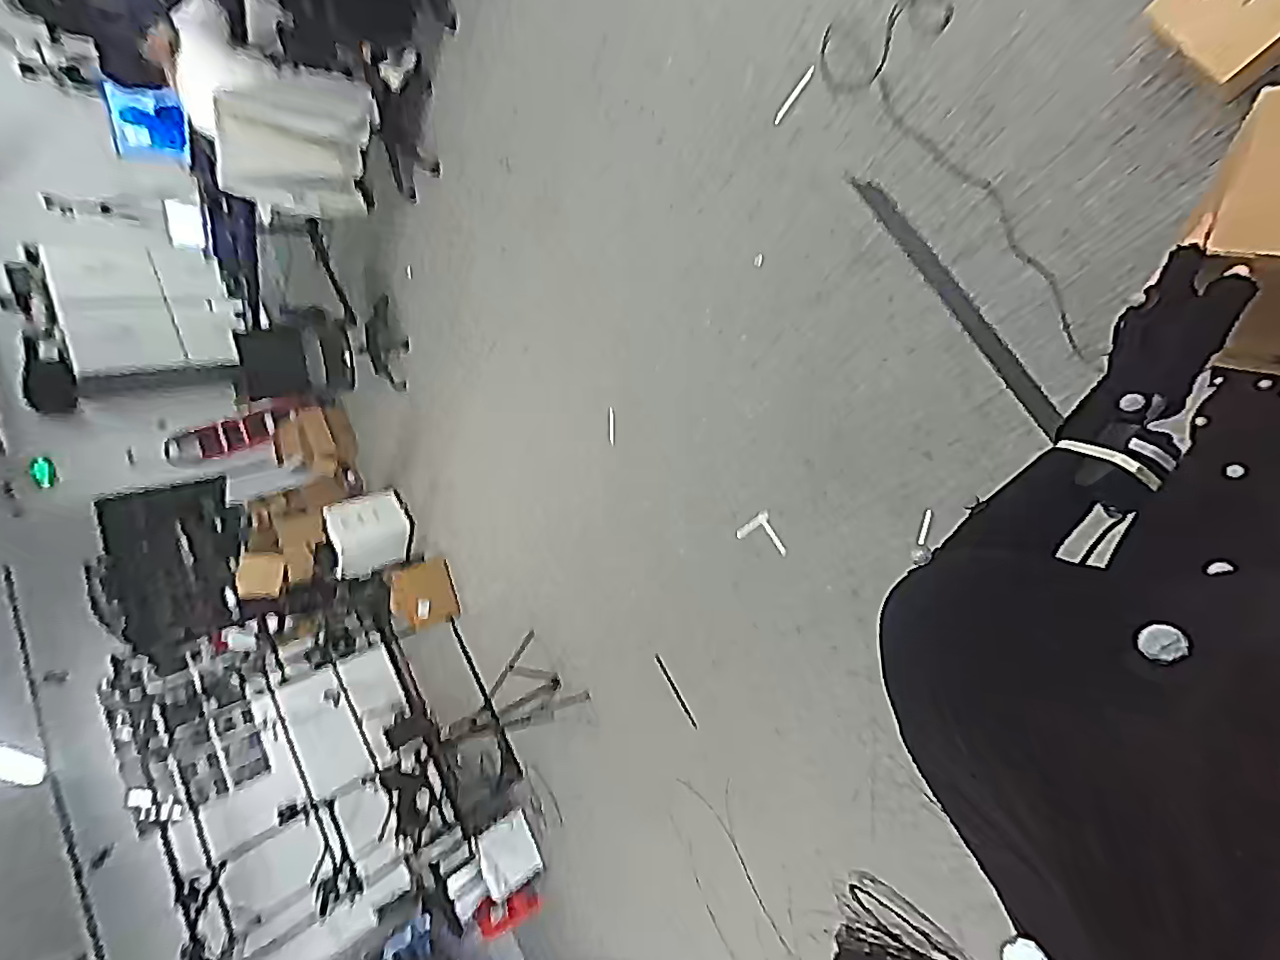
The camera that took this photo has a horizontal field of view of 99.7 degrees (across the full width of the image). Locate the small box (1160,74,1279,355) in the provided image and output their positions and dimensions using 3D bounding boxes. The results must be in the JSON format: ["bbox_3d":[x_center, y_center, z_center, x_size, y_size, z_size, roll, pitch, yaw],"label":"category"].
[{"bbox_3d":[0.600,-0.219,0.466,0.168,0.176,0.179,22,82,32],"label":"small box"}]

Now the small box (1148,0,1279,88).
[{"bbox_3d":[0.930,-0.737,0.818,0.179,0.176,0.168,58,139,14],"label":"small box"}]
